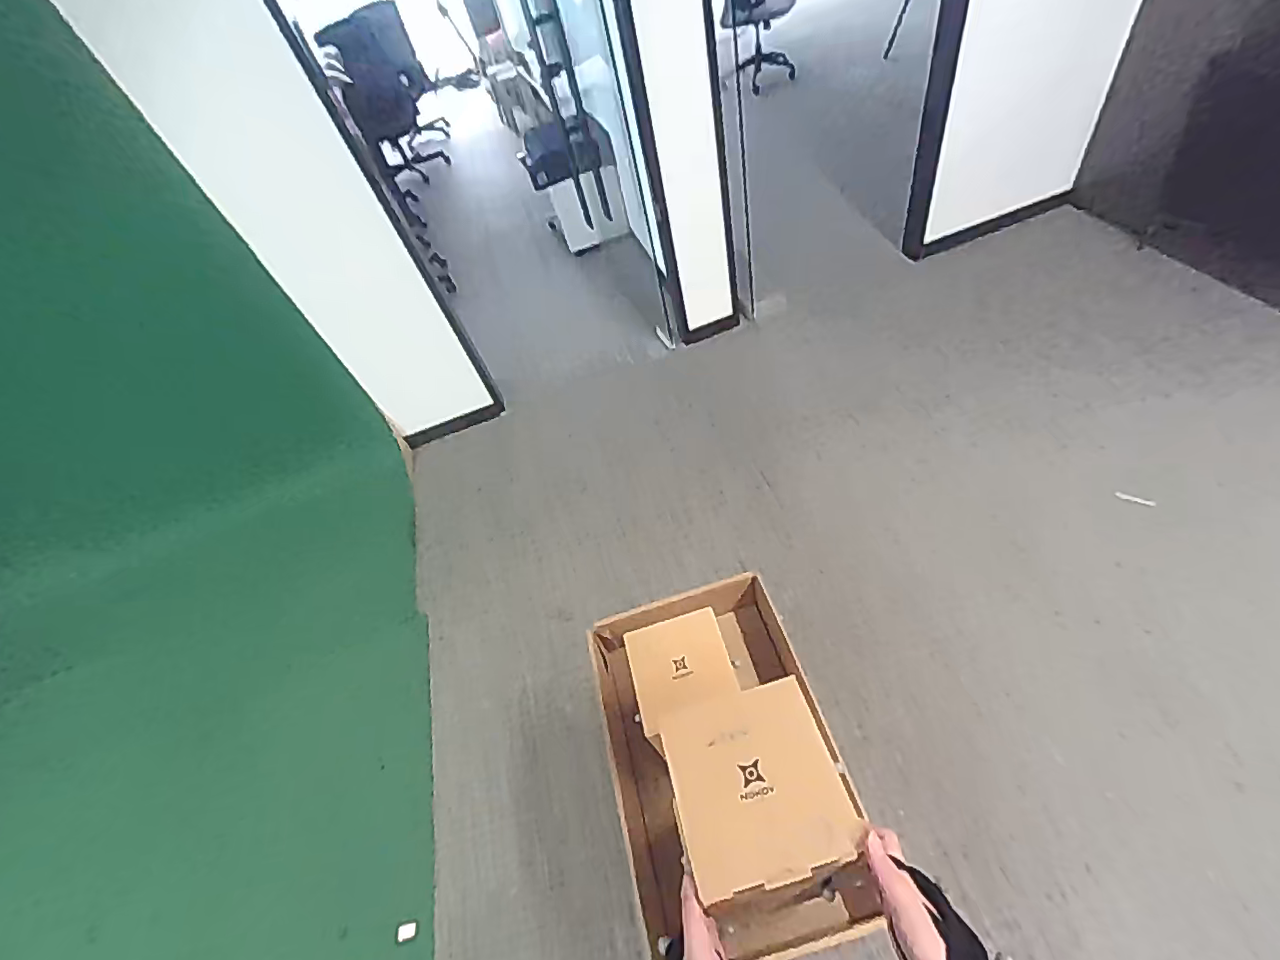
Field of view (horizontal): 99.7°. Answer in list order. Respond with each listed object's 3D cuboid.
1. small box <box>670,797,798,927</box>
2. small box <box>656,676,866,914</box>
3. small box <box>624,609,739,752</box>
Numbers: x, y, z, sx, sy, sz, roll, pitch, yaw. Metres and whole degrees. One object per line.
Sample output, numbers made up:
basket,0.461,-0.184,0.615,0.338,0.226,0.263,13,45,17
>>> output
small box,0.161,0.630,0.918,0.168,0.176,0.179,-17,47,1
small box,0.128,0.353,0.599,0.168,0.176,0.179,-16,44,0
small box,0.080,0.359,0.954,0.168,0.176,0.179,-17,51,0
